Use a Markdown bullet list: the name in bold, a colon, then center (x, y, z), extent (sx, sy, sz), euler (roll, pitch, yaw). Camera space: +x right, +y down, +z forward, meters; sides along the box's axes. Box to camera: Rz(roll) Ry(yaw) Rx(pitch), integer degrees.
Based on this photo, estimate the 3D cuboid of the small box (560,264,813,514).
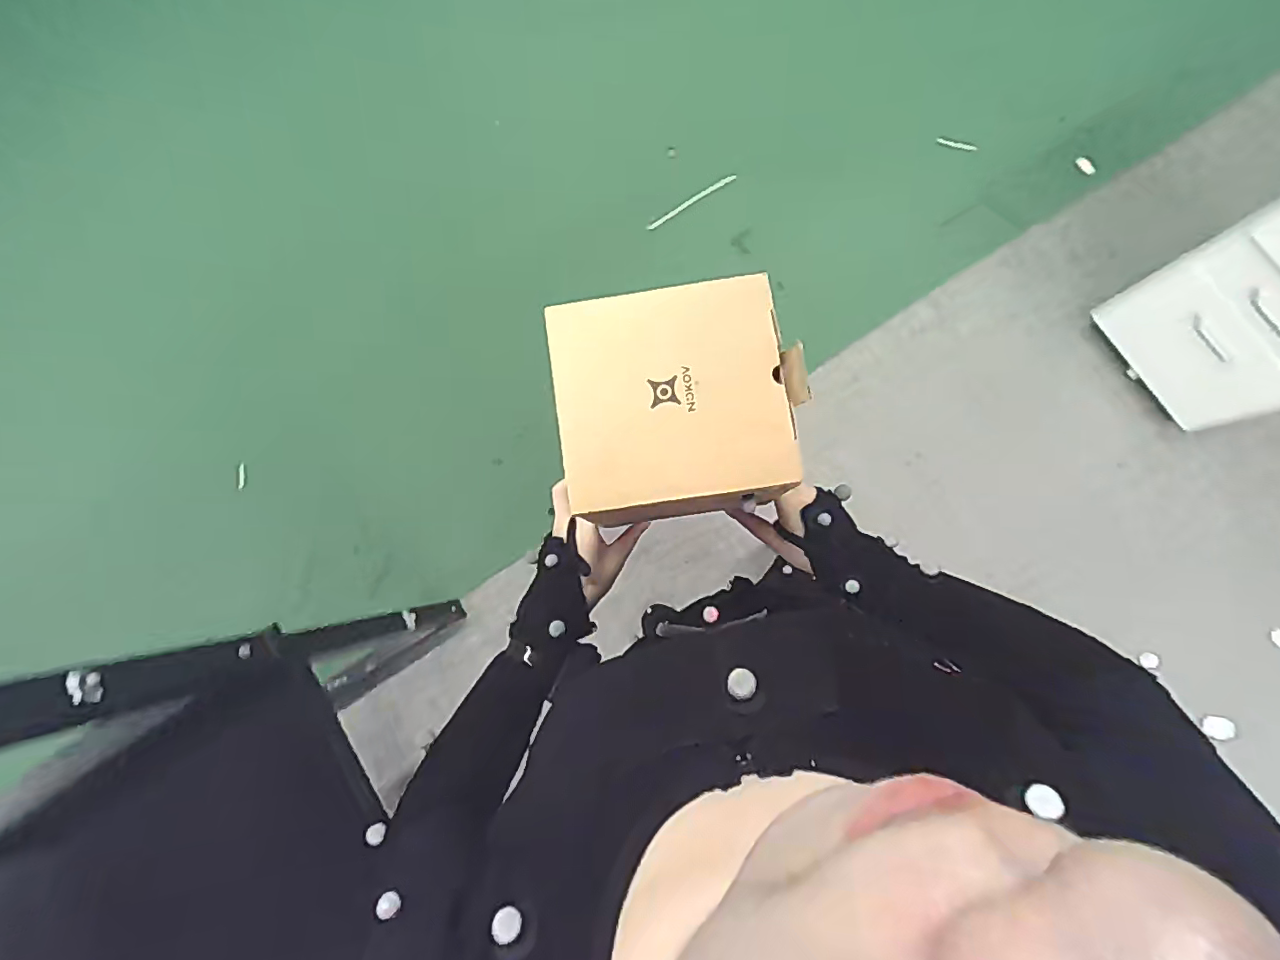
- **small box**: center (0.036, -0.065, 0.488), extent (0.179, 0.176, 0.168), euler (-8, 82, 1)
